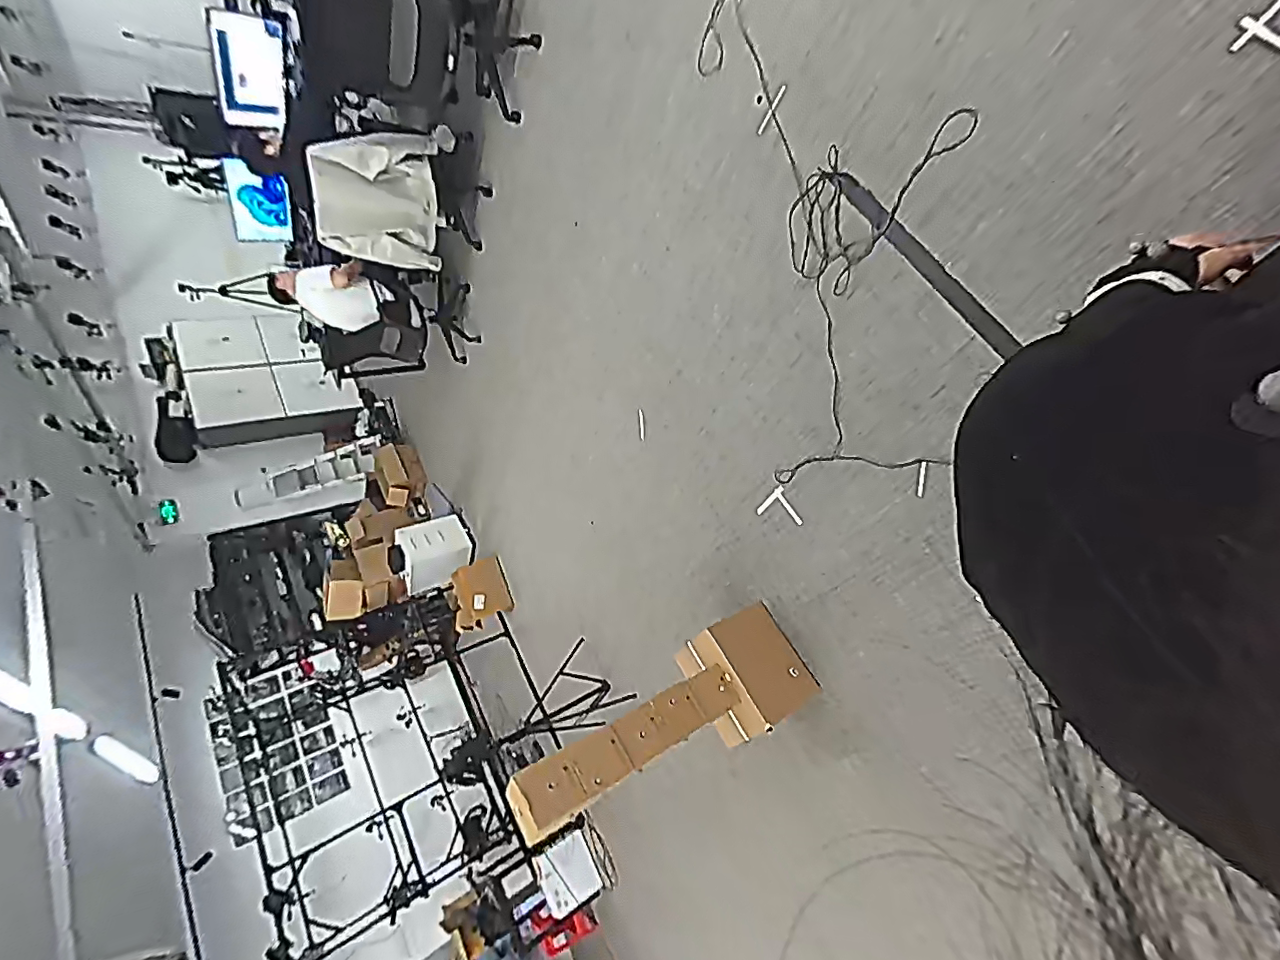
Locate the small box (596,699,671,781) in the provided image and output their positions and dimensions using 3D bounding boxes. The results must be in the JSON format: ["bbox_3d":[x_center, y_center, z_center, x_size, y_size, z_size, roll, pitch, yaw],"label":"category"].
[{"bbox_3d":[-0.018,0.869,1.817,0.168,0.176,0.179,54,140,28],"label":"small box"}]

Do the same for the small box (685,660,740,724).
[{"bbox_3d":[0.239,0.797,2.006,0.168,0.176,0.179,57,141,22],"label":"small box"}]

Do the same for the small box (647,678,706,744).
[{"bbox_3d":[0.111,0.827,1.910,0.168,0.176,0.179,57,142,24],"label":"small box"}]

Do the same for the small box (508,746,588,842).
[{"bbox_3d":[-0.275,0.938,1.625,0.168,0.176,0.179,52,138,30],"label":"small box"}]
